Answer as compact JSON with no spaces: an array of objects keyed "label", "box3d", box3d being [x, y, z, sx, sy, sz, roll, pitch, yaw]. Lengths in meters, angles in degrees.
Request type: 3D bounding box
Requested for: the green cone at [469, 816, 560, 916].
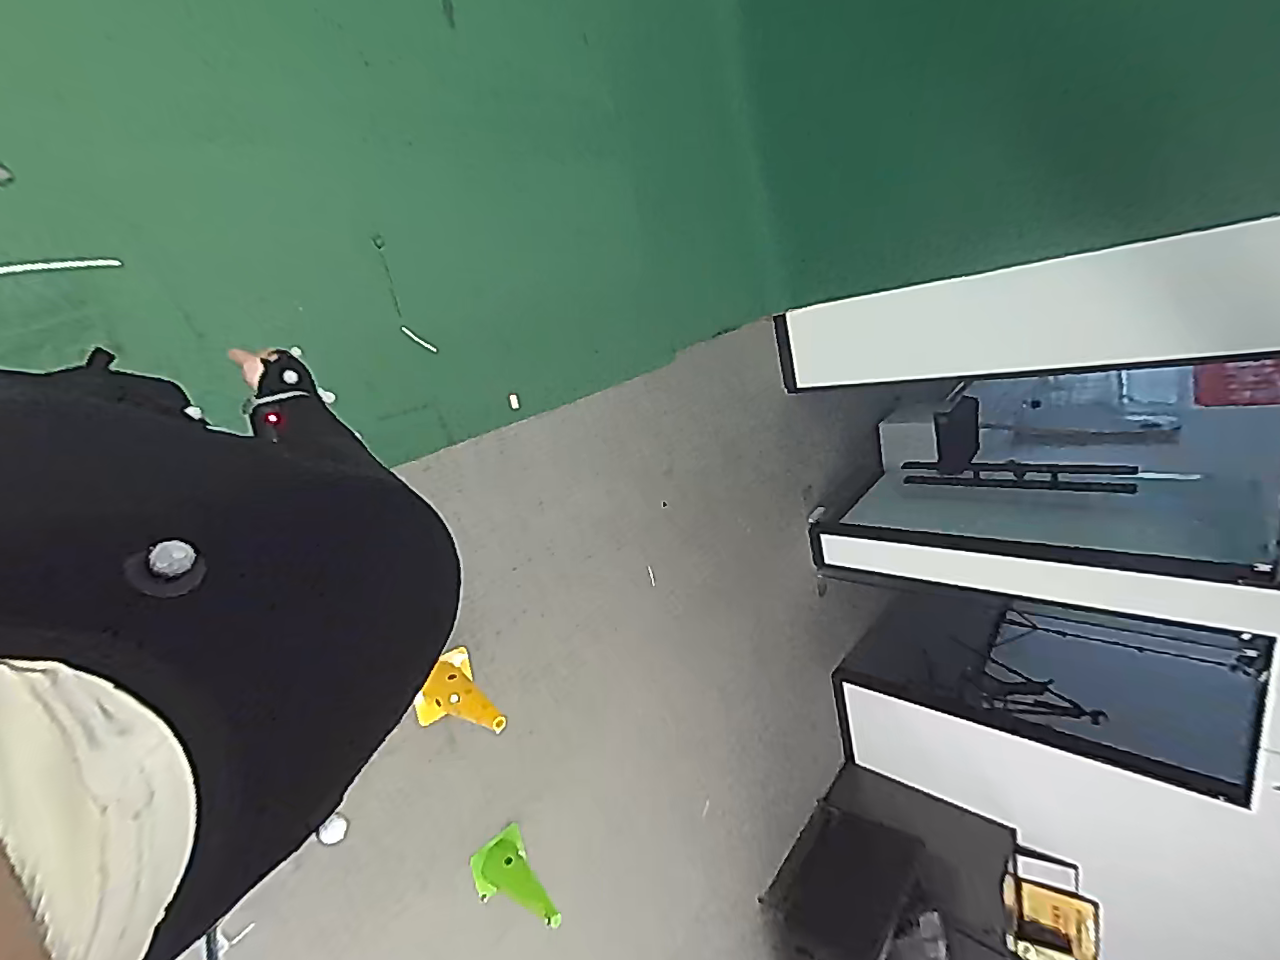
[{"label":"green cone","box3d":[-0.396,1.378,1.862,0.200,0.368,0.202,-23,108,-43]}]
